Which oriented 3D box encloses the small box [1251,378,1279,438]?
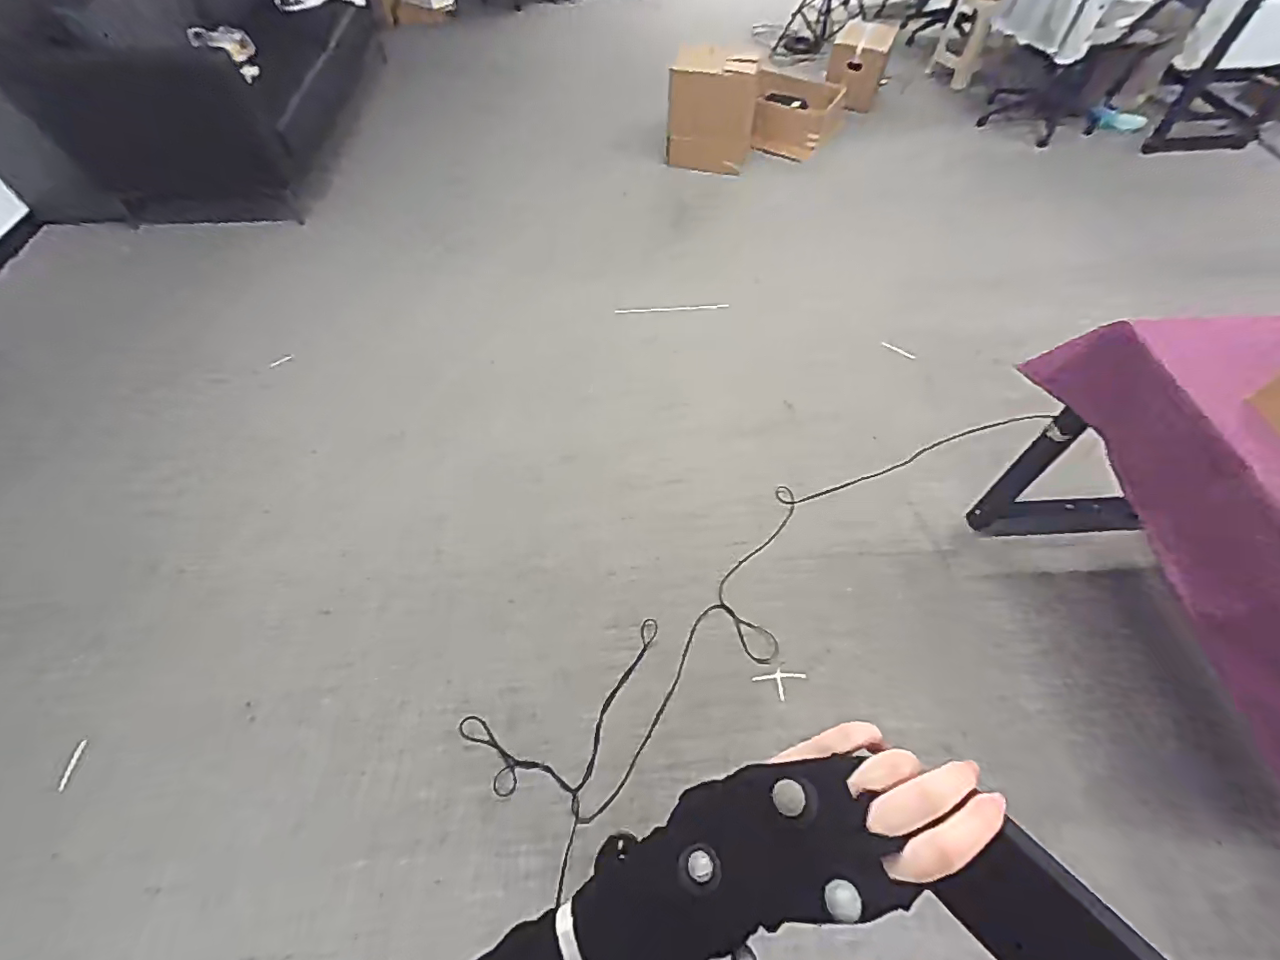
[{"bbox_3d":[1.181,-0.122,0.872,0.168,0.176,0.179,-1,56,-1],"label":"small box"}]
